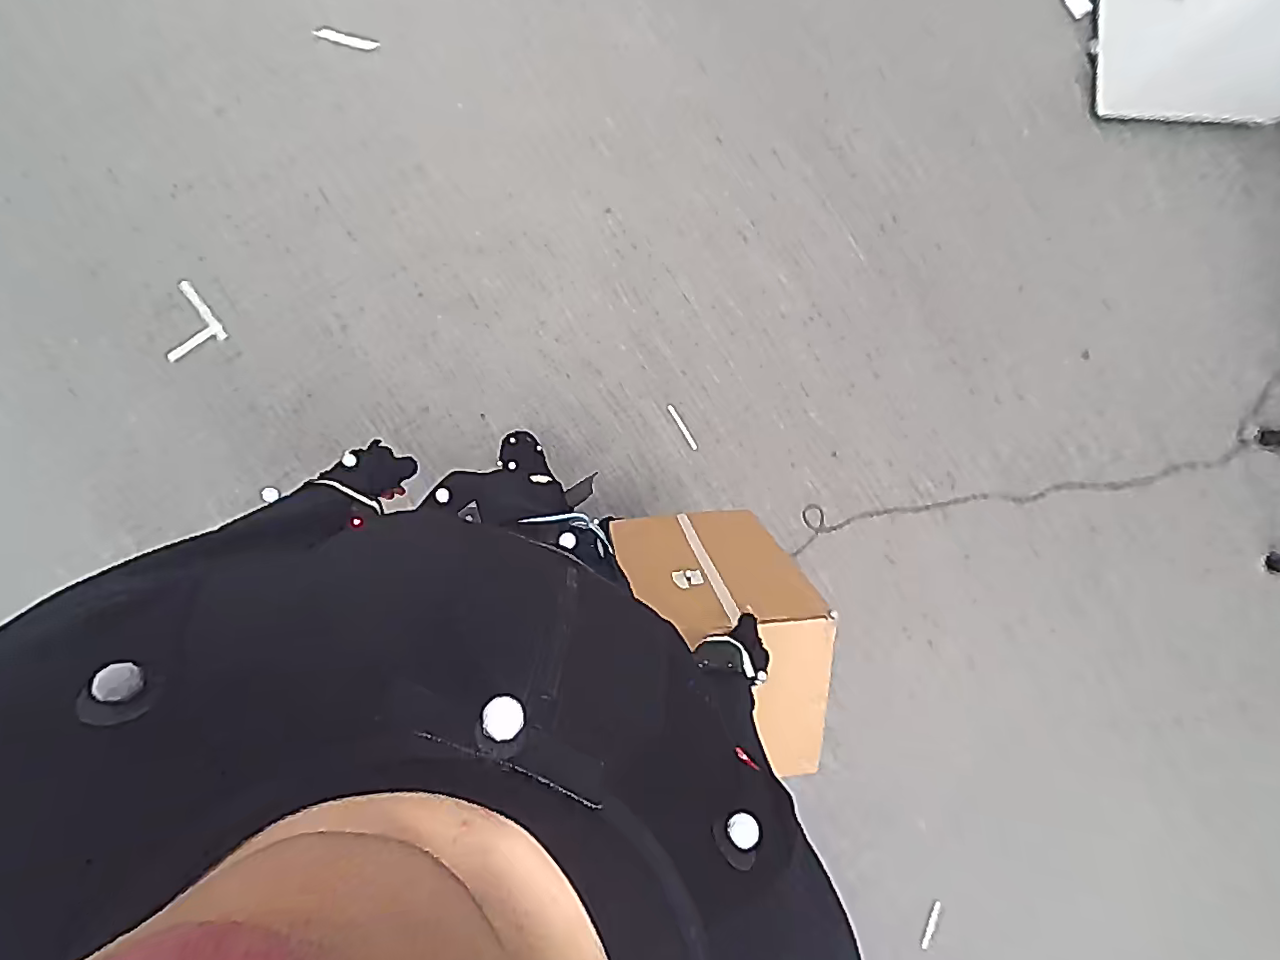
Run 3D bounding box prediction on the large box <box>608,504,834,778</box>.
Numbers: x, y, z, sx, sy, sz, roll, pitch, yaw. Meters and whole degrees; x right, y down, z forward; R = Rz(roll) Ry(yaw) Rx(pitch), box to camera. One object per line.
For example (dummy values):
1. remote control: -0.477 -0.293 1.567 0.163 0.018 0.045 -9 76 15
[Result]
1. large box: 0.120 0.275 1.039 0.320 0.408 0.320 -6 112 -7
